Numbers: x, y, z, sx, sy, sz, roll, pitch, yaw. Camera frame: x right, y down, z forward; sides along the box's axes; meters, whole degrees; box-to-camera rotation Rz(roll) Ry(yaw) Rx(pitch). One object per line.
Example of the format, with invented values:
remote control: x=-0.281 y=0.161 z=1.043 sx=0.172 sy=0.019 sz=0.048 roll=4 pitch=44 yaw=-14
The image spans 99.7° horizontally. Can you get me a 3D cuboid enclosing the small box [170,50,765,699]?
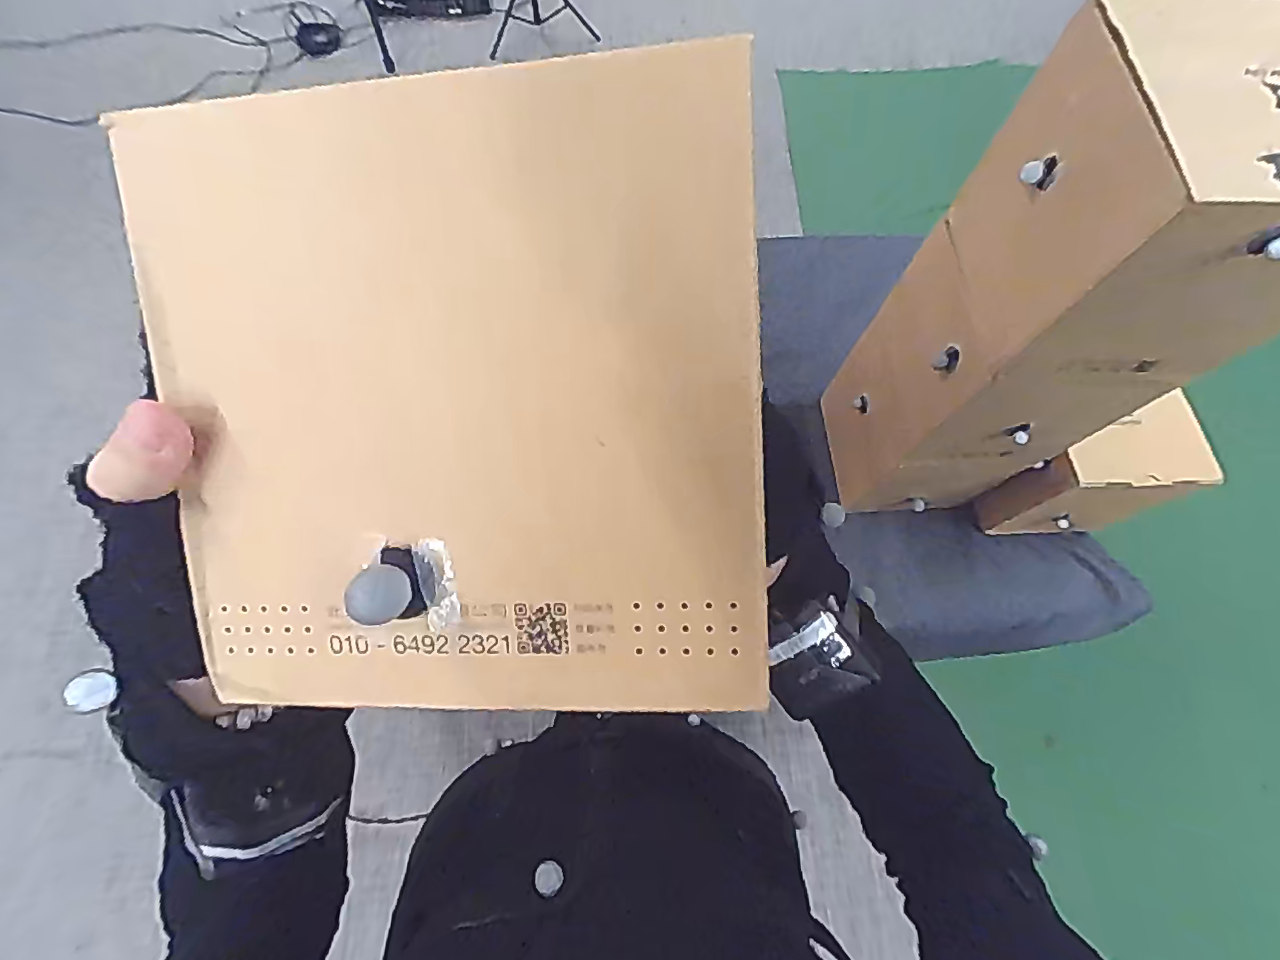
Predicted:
small box: x=-0.039 y=-0.030 z=0.232 sx=0.168 sy=0.179 sz=0.176 roll=-3 pitch=98 yaw=7

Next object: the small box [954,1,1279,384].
small box: x=0.356 y=-0.188 z=0.381 sx=0.168 sy=0.176 sz=0.179 roll=0 pitch=68 yaw=0

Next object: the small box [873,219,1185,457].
small box: x=0.355 y=-0.129 z=0.535 sx=0.168 sy=0.176 sz=0.179 roll=-1 pitch=68 yaw=-1
